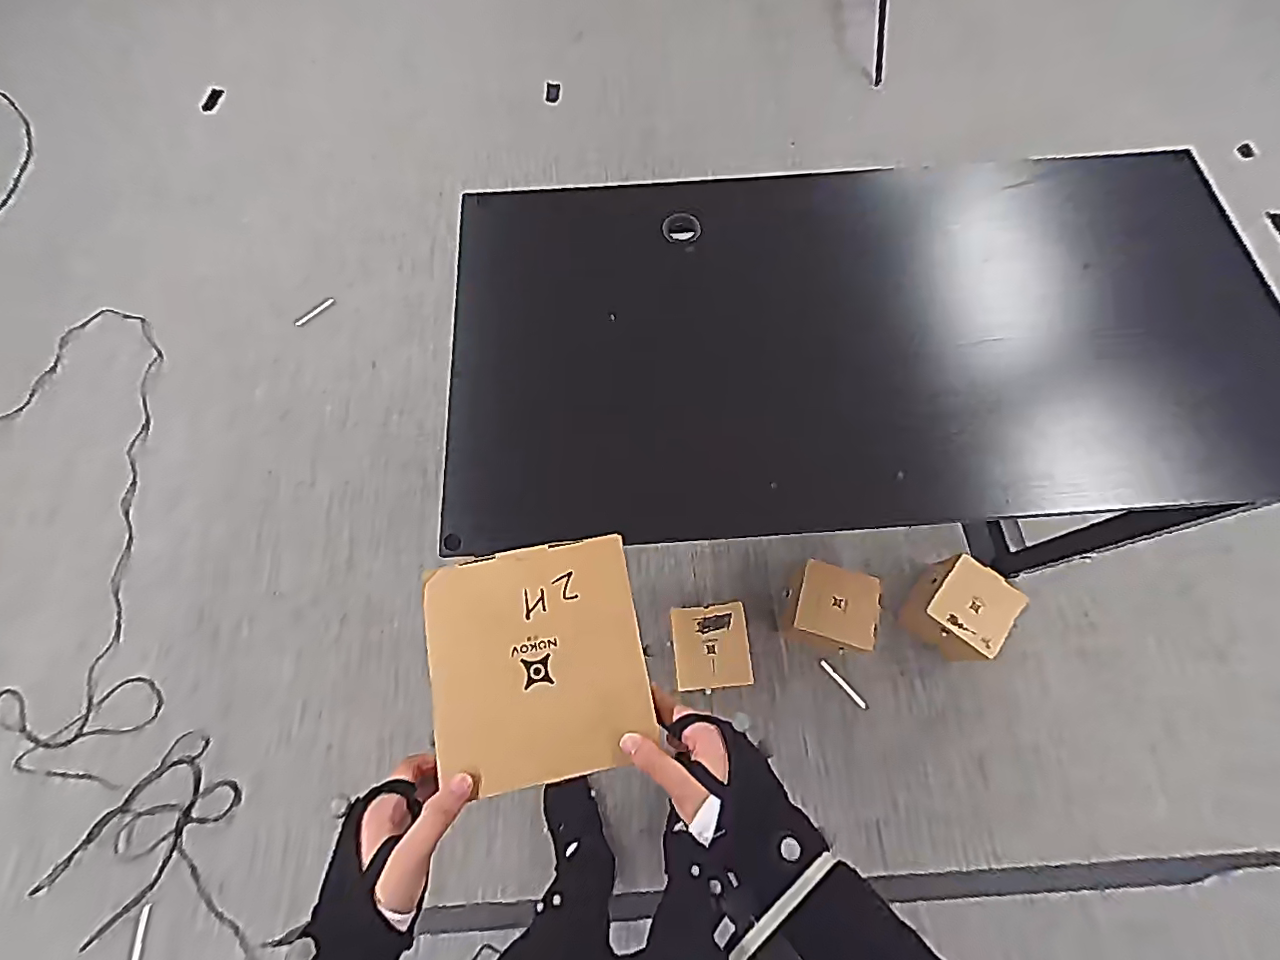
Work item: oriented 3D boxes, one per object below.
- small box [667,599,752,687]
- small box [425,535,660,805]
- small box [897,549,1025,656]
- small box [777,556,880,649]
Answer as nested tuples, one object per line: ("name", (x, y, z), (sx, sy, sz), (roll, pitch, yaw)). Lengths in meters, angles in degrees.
("small box", (0.154, 0.382, 1.258), (0.168, 0.176, 0.179), (-5, 71, -1))
("small box", (-0.081, 0.165, 0.498), (0.168, 0.176, 0.179), (-11, 72, -6))
("small box", (0.746, 0.295, 1.278), (0.168, 0.176, 0.179), (37, 75, 14))
("small box", (0.443, 0.298, 1.285), (0.179, 0.176, 0.168), (15, 70, 7))
